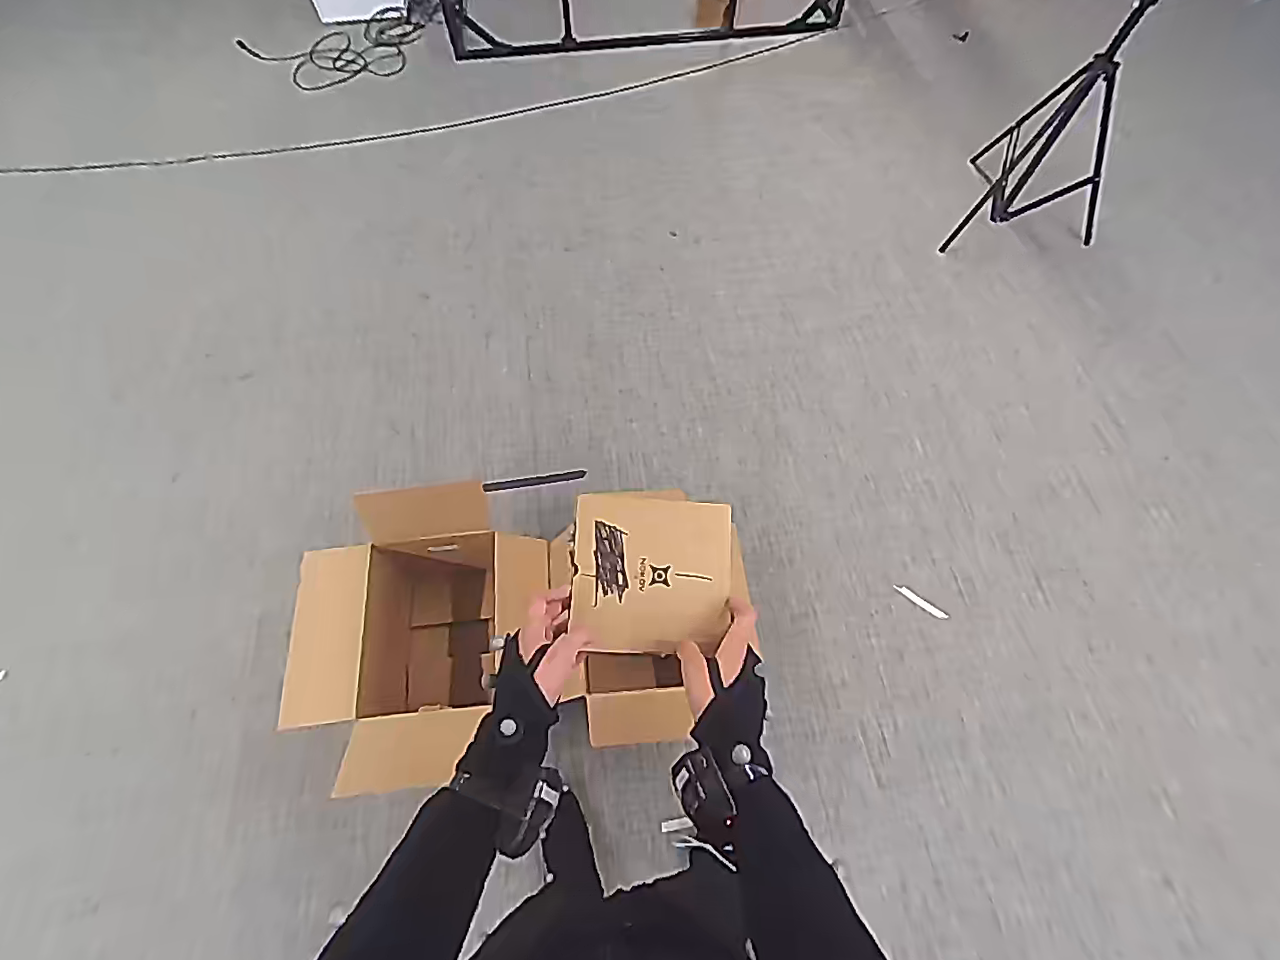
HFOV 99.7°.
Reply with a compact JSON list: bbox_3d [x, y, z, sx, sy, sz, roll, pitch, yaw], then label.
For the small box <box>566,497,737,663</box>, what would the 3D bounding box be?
[{"bbox_3d":[0.008,0.122,0.650,0.179,0.176,0.168,5,77,-6],"label":"small box"}]
